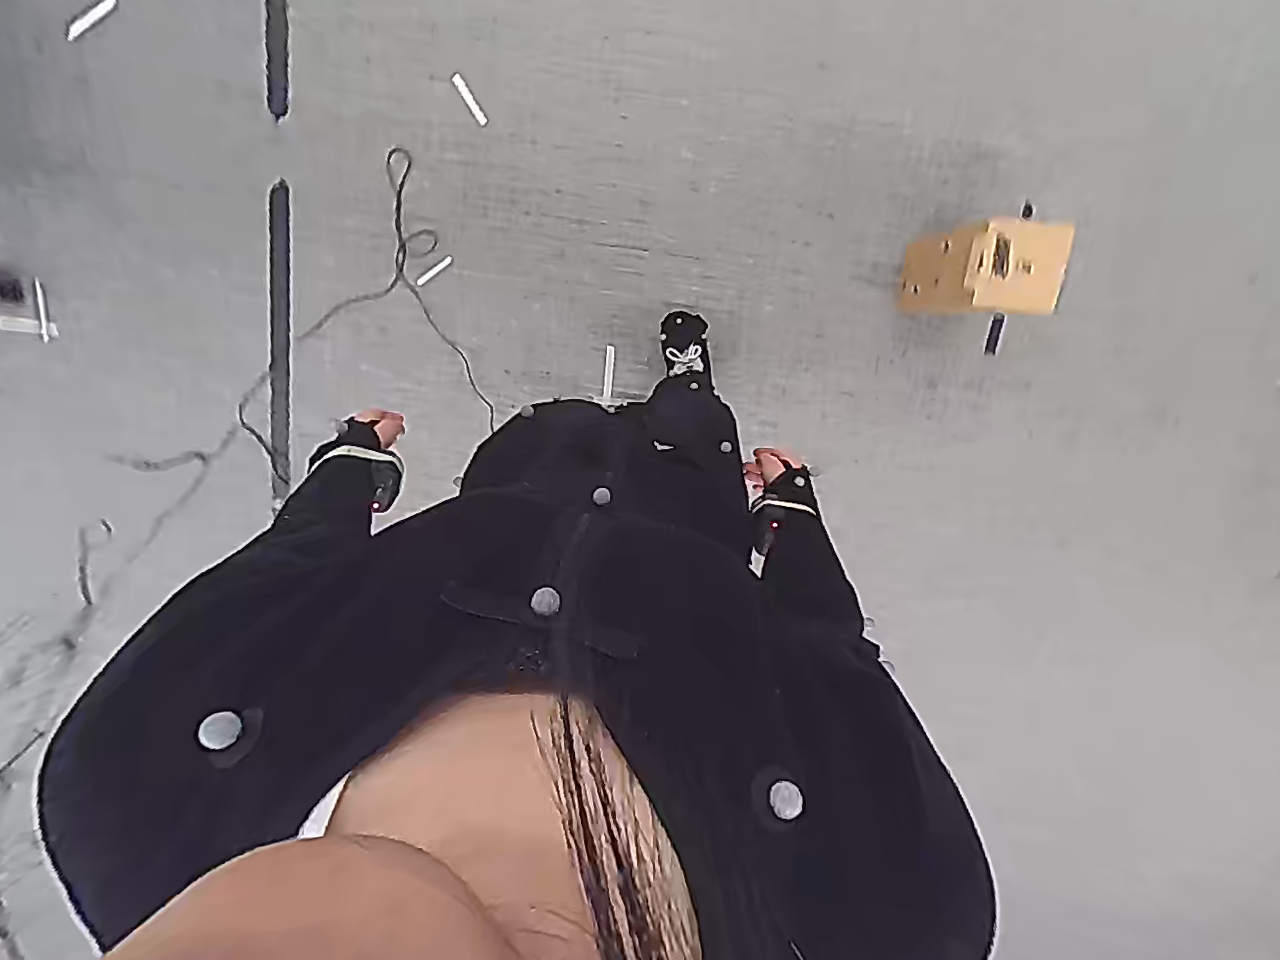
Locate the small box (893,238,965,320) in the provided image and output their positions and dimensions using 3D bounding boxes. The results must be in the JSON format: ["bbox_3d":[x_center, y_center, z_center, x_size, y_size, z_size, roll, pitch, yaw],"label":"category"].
[{"bbox_3d":[0.745,-0.480,1.312,0.179,0.176,0.168,4,106,-3],"label":"small box"}]

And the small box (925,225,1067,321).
[{"bbox_3d":[0.745,-0.433,1.154,0.179,0.176,0.168,5,105,-2],"label":"small box"}]
